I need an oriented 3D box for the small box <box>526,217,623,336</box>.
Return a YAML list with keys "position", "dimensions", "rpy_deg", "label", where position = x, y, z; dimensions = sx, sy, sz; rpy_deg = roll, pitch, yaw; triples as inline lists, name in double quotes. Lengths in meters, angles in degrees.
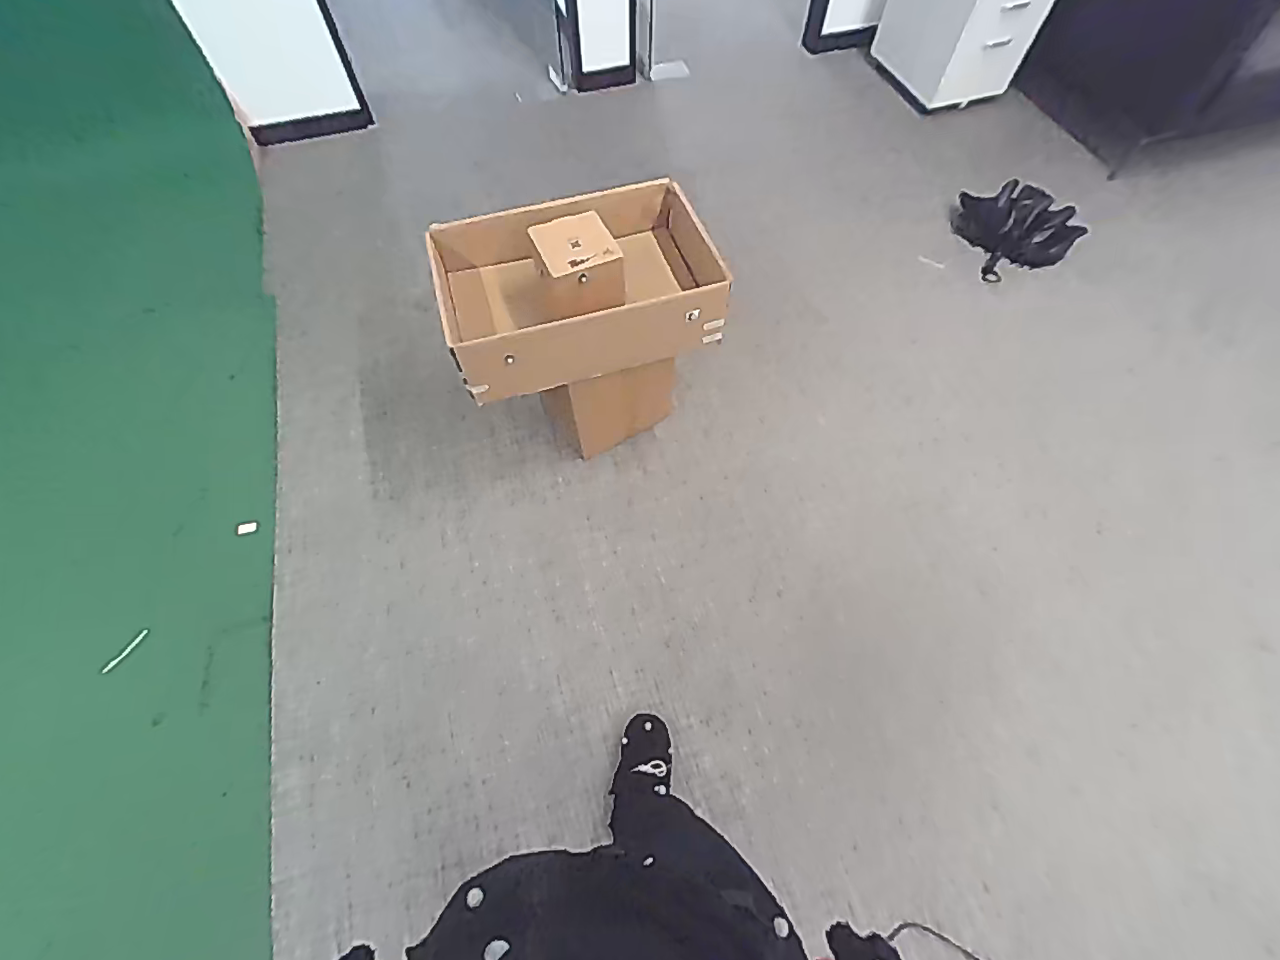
- position: [-0.148, -0.471, 1.261]
  dimensions: [0.168, 0.176, 0.179]
  rpy_deg: [-23, 63, -10]
  label: "small box"
